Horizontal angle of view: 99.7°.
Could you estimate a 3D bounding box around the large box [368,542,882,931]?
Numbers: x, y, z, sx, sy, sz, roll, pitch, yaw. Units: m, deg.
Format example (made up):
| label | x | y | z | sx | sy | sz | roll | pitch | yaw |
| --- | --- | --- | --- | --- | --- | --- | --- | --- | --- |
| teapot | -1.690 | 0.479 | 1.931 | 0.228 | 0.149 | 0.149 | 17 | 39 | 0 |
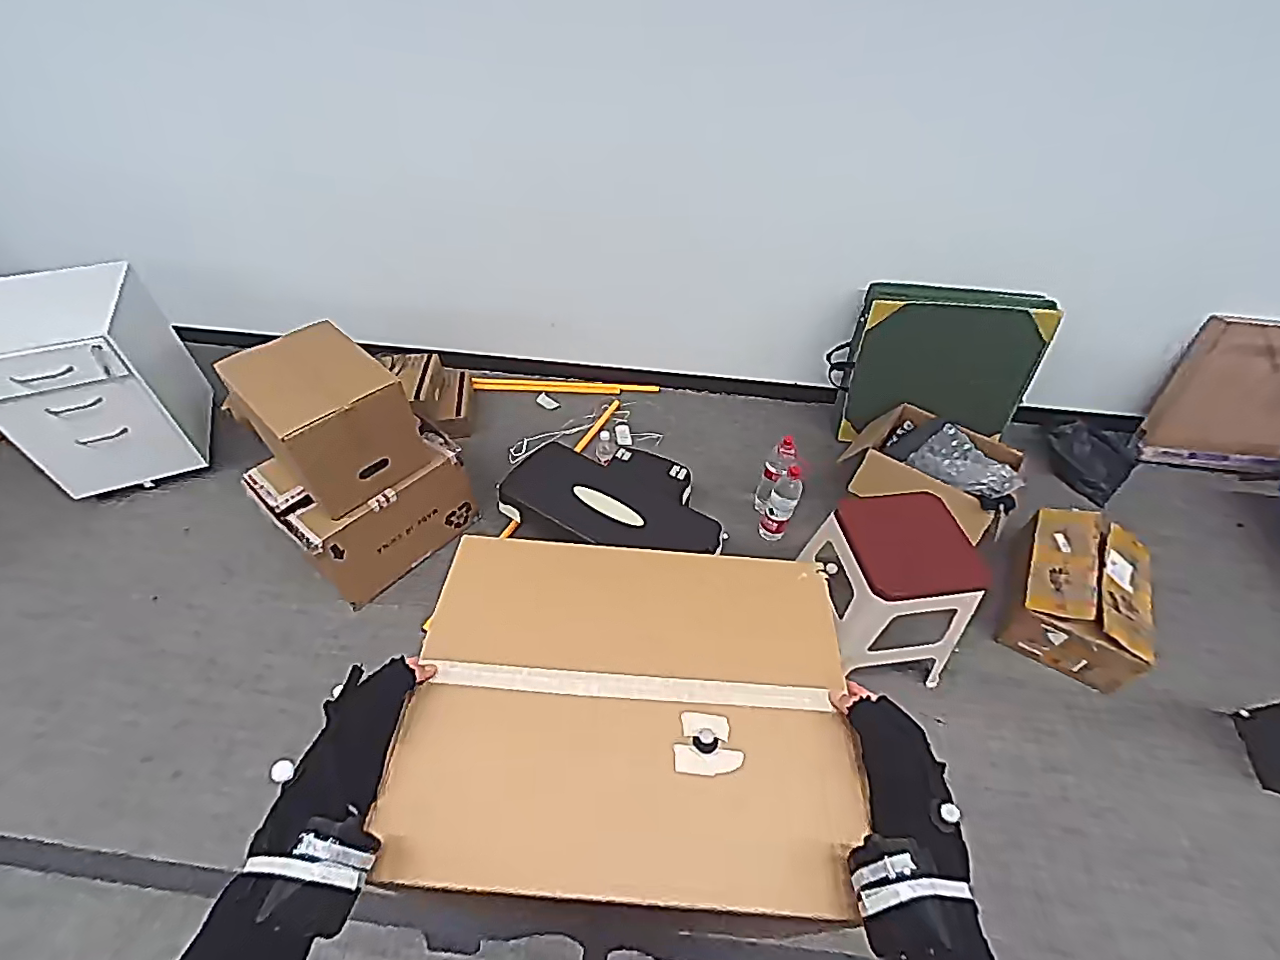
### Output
| label | x | y | z | sx | sy | sz | roll | pitch | yaw |
| --- | --- | --- | --- | --- | --- | --- | --- | --- | --- |
| large box | -0.013 | 0.296 | 0.618 | 0.408 | 0.320 | 0.320 | 5 | 48 | 0 |
